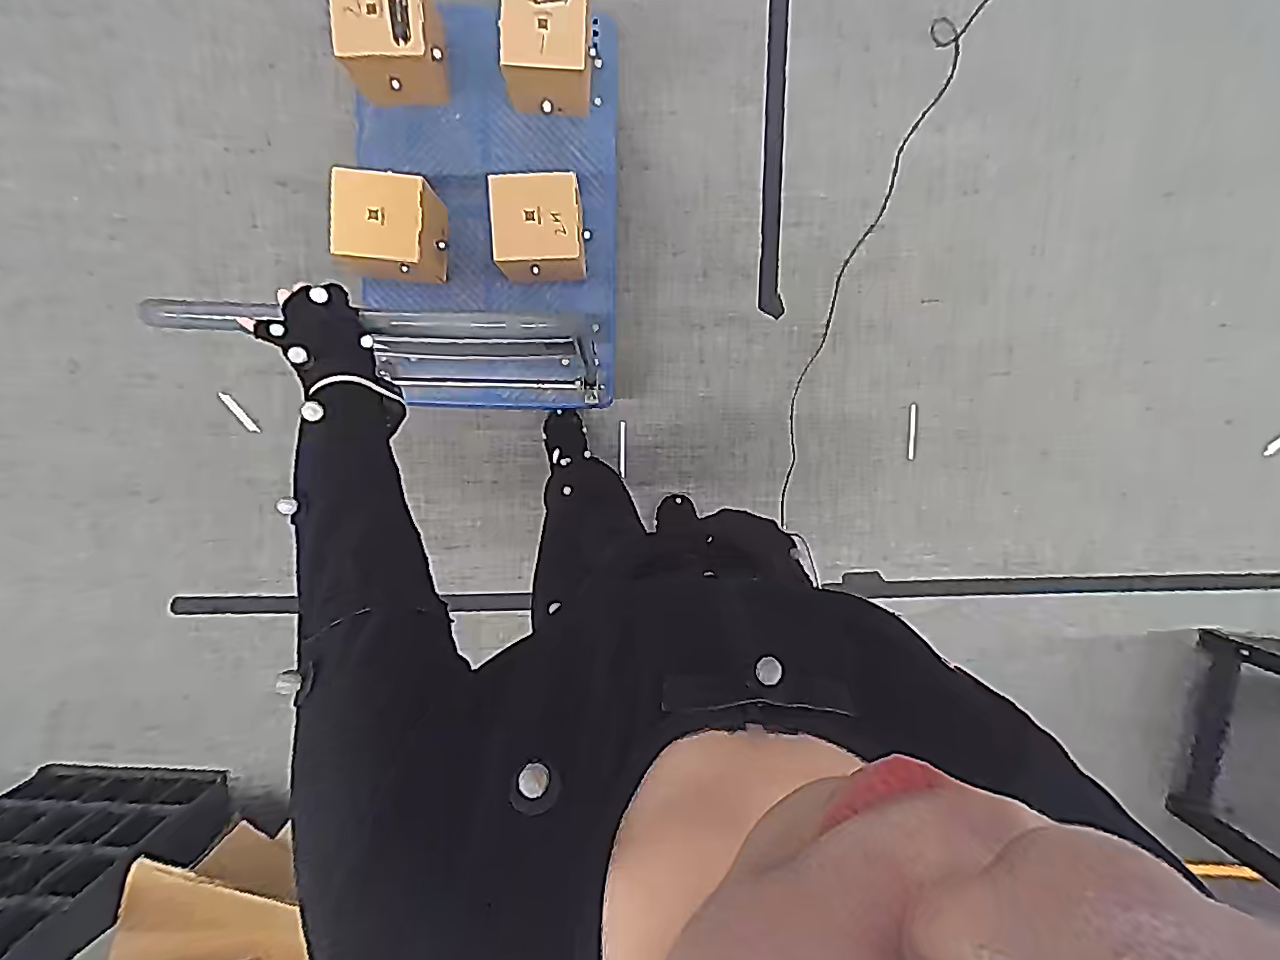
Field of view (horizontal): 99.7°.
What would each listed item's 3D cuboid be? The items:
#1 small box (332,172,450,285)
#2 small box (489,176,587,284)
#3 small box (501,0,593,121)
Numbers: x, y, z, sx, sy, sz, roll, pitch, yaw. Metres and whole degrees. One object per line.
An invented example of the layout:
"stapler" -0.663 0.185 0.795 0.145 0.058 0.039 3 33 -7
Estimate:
"small box" -0.519 -0.522 1.143 0.179 0.176 0.168 4 95 -4
"small box" -0.210 -0.523 1.153 0.179 0.176 0.168 -3 96 -2
"small box" -0.186 -0.886 1.119 0.168 0.176 0.179 2 97 -2
